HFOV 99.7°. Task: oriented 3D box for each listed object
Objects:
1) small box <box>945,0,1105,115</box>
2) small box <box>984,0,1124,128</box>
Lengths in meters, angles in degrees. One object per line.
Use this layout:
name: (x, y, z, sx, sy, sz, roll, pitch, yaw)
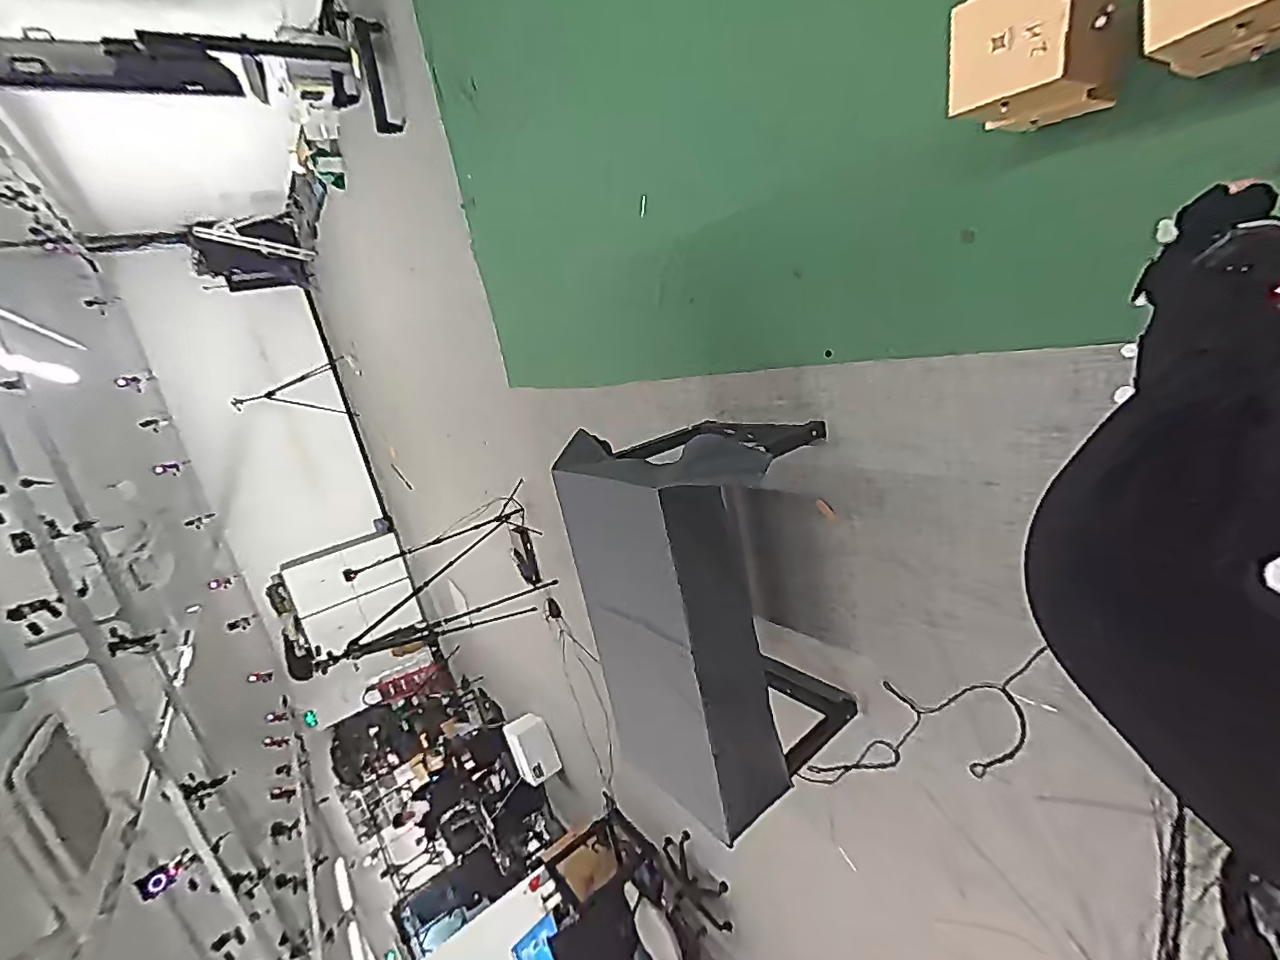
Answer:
small box: (0.660, -0.752, 0.932, 0.179, 0.176, 0.168, 16, 120, 52)
small box: (0.786, -0.794, 1.030, 0.168, 0.176, 0.179, 17, 121, 51)
